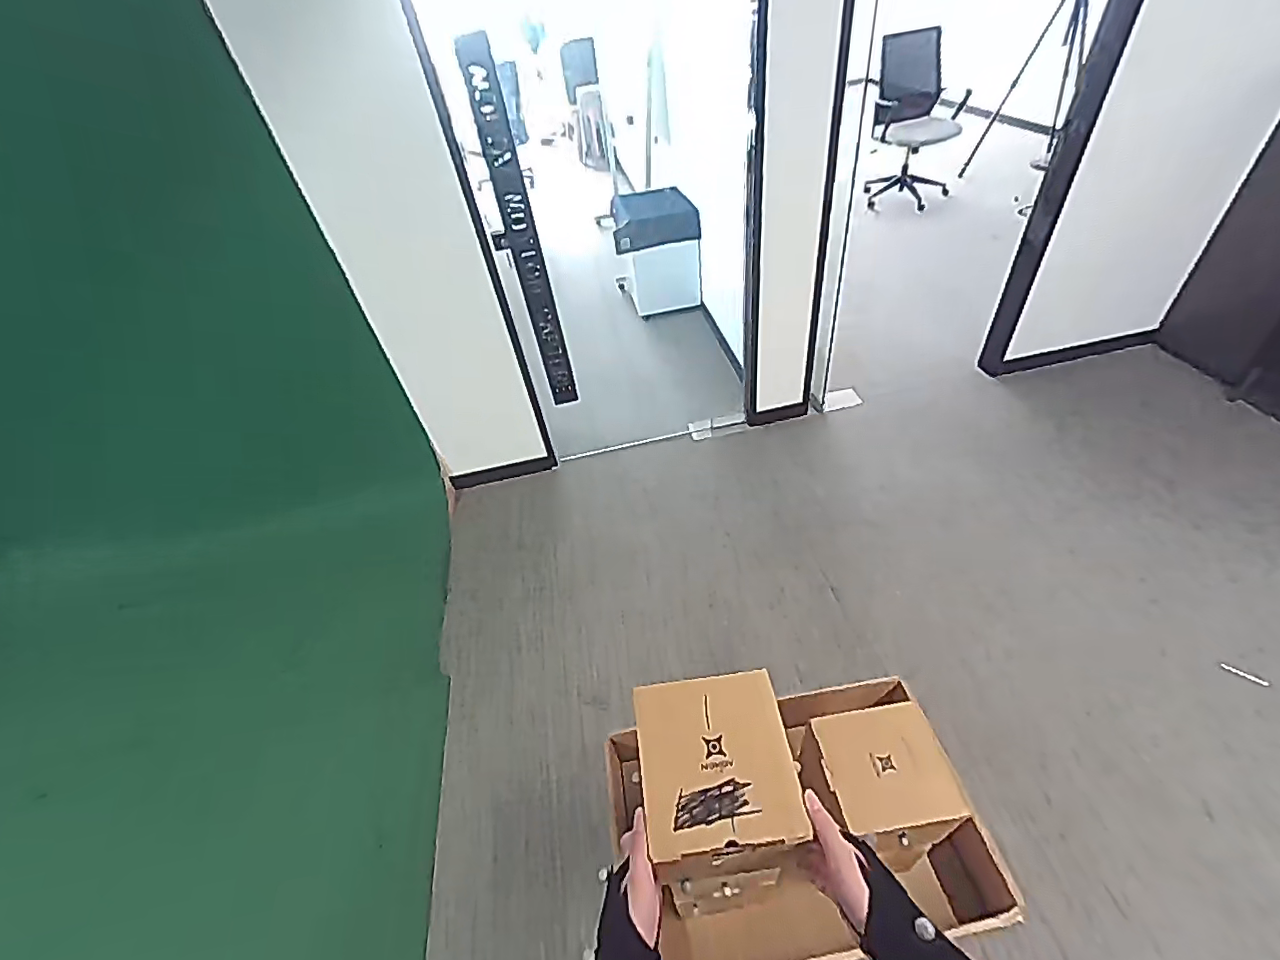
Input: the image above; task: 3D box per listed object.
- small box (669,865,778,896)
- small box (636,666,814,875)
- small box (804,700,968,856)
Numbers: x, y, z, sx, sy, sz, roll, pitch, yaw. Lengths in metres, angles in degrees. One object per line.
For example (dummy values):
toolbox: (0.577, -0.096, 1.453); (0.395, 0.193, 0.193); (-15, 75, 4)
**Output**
small box: (0.112, 0.519, 0.850); (0.168, 0.176, 0.179); (-10, 43, -1)
small box: (0.089, 0.346, 0.637); (0.168, 0.176, 0.179); (-7, 46, -1)
small box: (0.371, 0.476, 0.860); (0.179, 0.176, 0.168); (-8, 45, -1)
